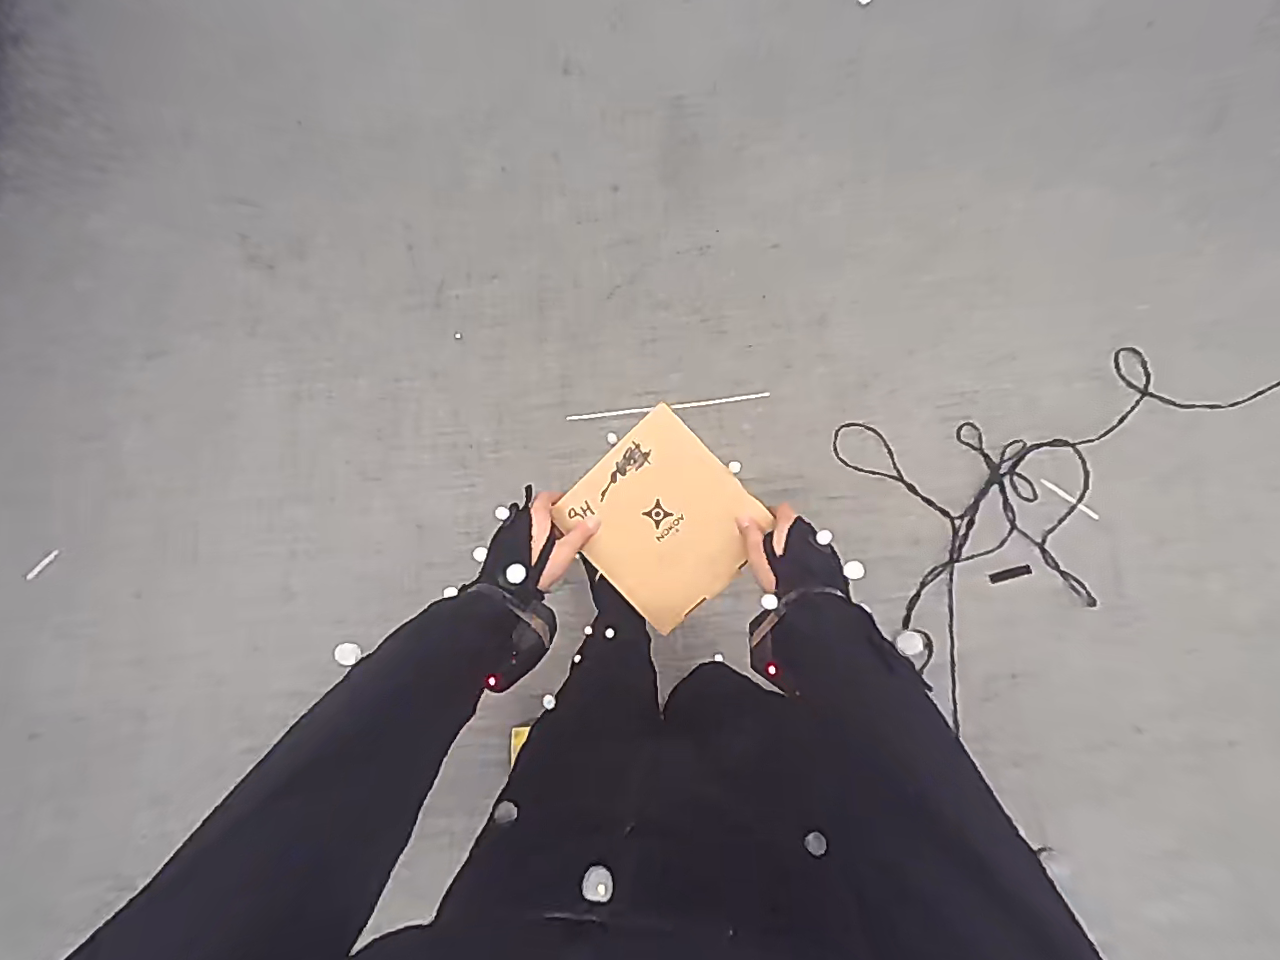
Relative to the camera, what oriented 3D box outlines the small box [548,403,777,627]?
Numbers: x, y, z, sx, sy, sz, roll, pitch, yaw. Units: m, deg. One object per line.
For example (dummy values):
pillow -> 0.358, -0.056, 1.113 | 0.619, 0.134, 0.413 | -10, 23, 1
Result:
small box -> 0.029, 0.028, 0.622 | 0.168, 0.176, 0.179 | -43, 91, 7
